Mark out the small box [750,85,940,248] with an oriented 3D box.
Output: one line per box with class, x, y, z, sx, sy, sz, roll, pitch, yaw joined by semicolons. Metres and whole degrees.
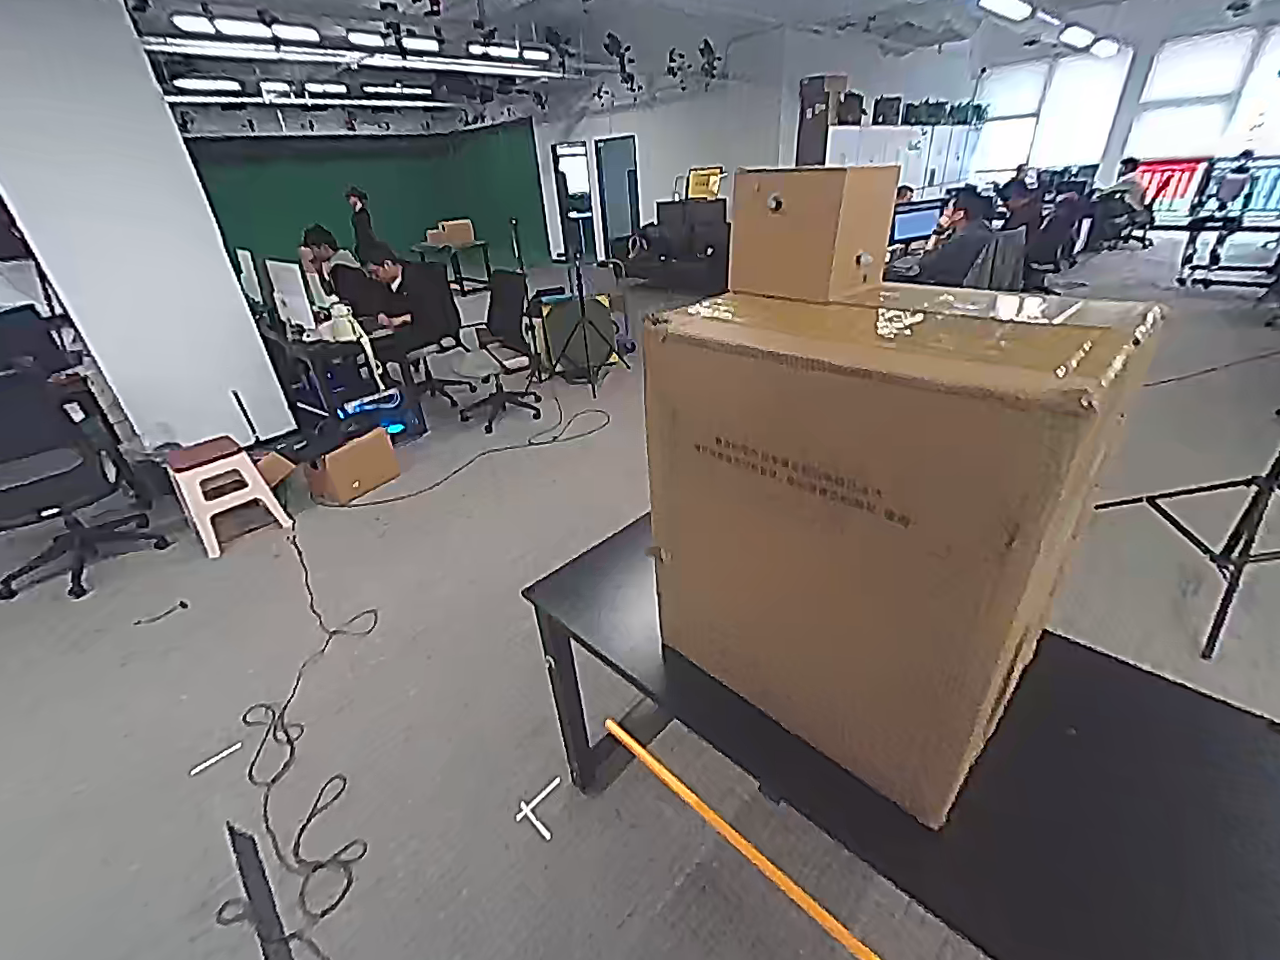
small box;0.266;-0.413;0.731;0.168;0.176;0.179;-27;39;-37
